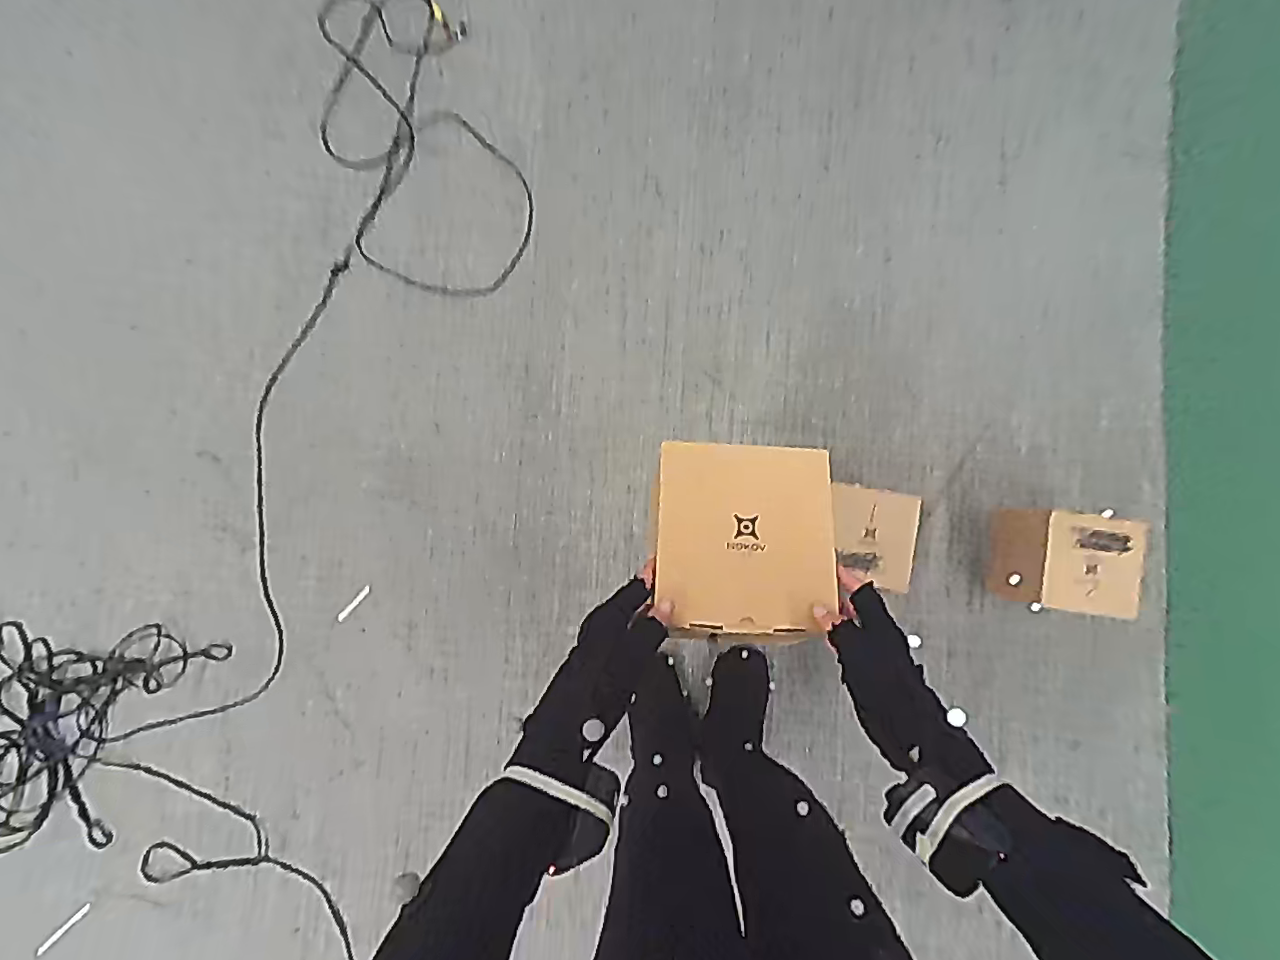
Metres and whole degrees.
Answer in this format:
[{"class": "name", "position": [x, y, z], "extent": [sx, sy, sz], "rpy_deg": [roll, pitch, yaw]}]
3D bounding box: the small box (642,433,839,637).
[{"class": "small box", "position": [0.089, 0.066, 0.561], "extent": [0.168, 0.176, 0.179], "rpy_deg": [3, 73, -1]}]

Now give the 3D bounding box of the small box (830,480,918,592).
[{"class": "small box", "position": [0.403, 0.104, 1.042], "extent": [0.168, 0.176, 0.179], "rpy_deg": [11, 86, 2]}]
